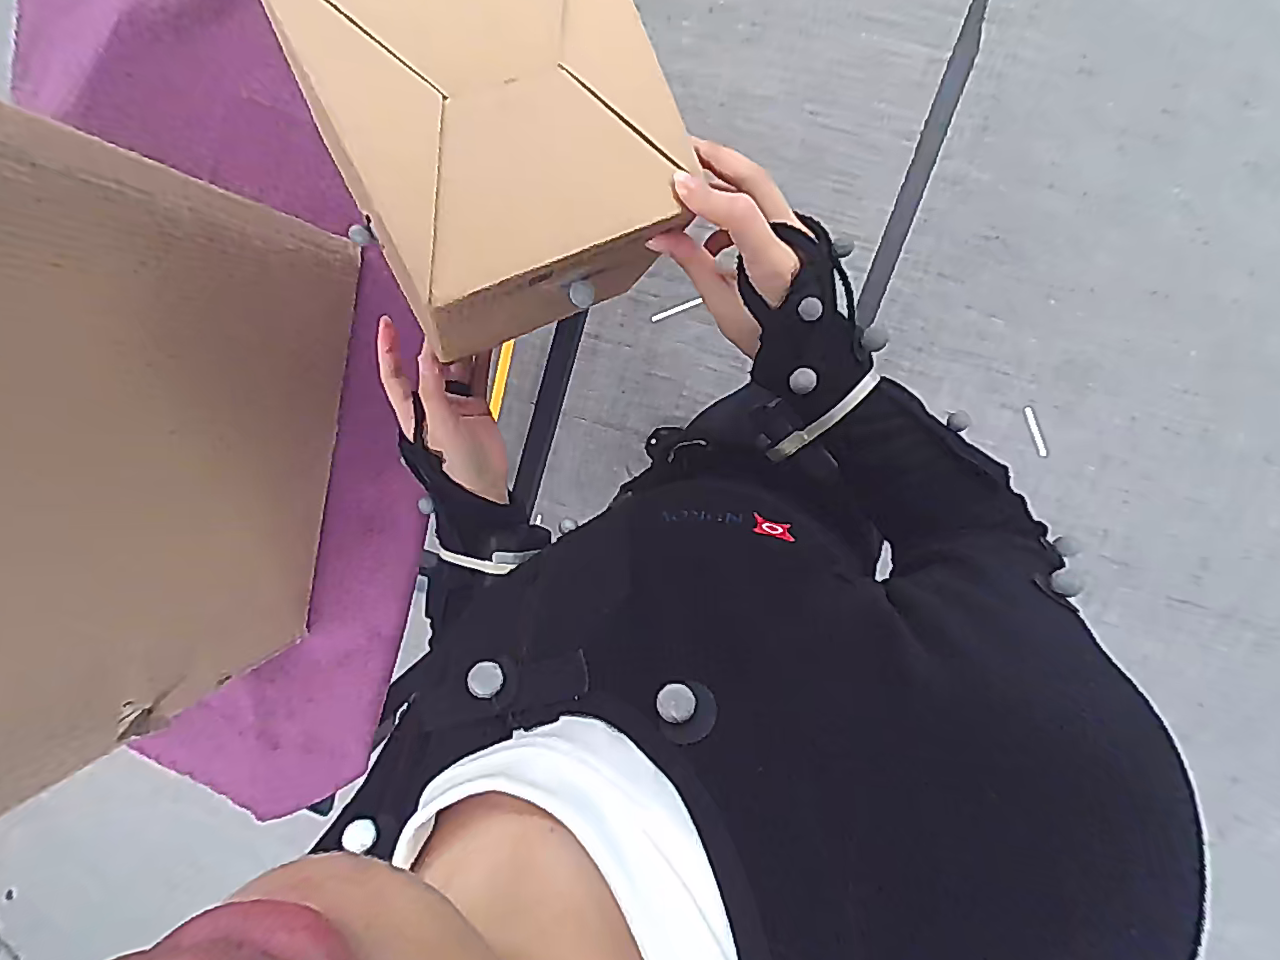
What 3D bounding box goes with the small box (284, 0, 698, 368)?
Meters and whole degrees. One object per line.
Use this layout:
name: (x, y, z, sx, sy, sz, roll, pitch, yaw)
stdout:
small box: (-0.087, -0.195, 0.340, 0.168, 0.176, 0.179, -28, 99, -15)
